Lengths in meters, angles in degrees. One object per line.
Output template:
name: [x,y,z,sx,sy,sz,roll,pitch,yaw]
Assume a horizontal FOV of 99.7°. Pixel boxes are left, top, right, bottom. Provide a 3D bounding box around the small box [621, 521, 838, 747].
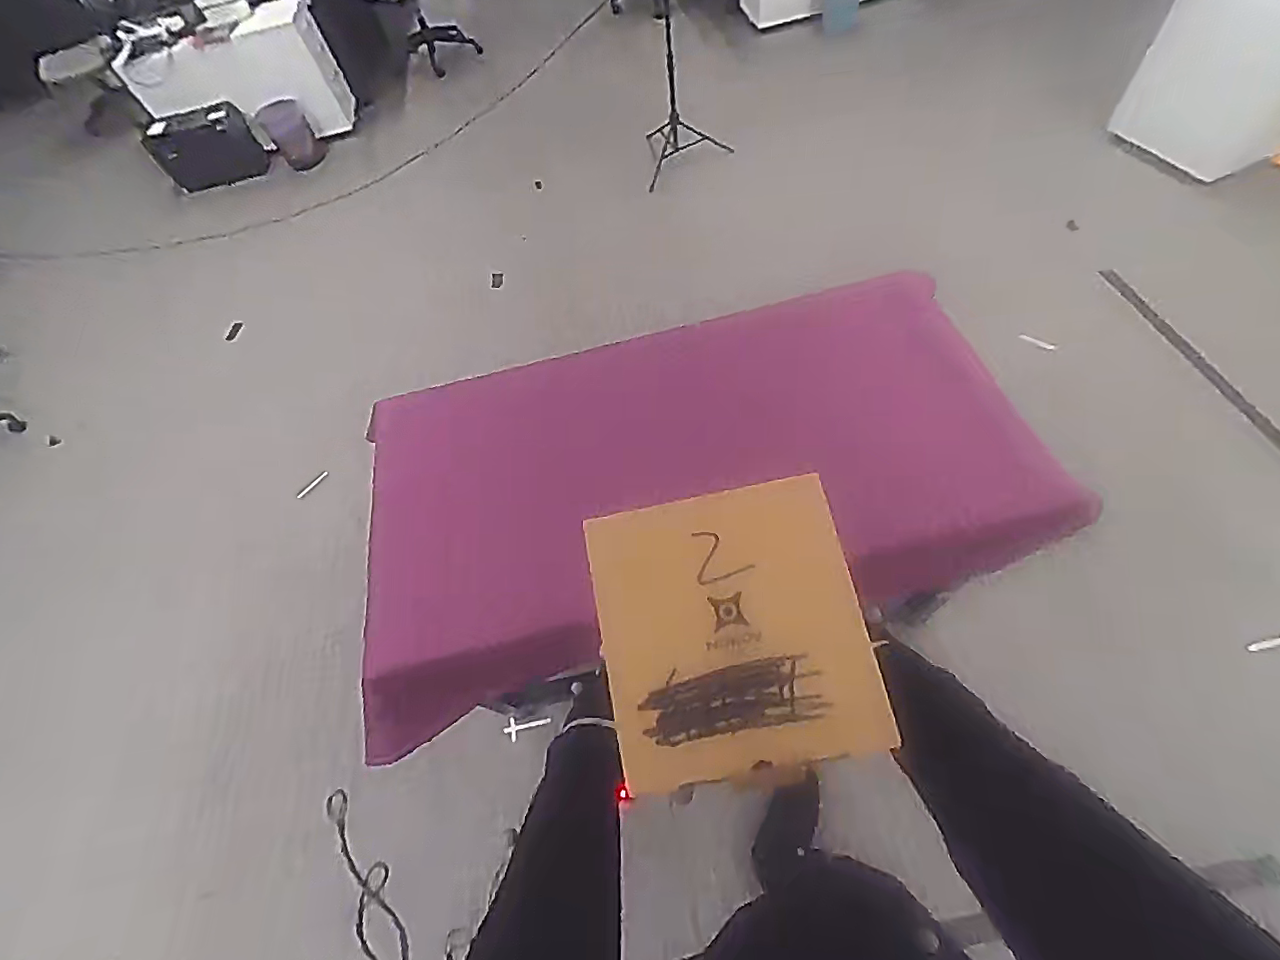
small box: [0.083,0.160,0.574,0.168,0.176,0.179,-14,73,2]
